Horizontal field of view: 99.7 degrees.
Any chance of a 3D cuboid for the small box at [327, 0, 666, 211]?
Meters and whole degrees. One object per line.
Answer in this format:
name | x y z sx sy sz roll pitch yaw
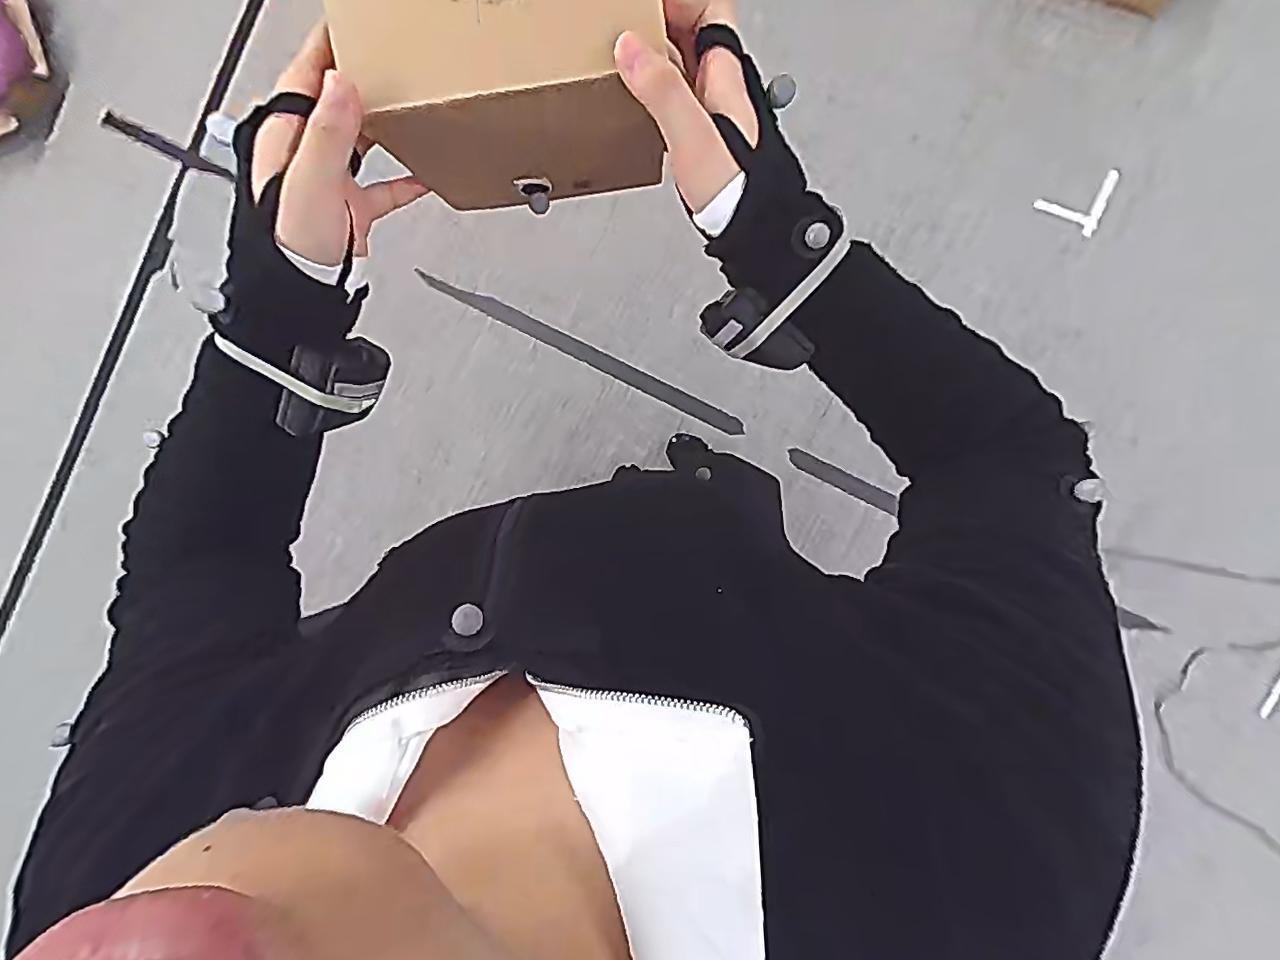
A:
small box | -0.076 -0.293 0.338 0.168 0.176 0.179 -6 101 2
